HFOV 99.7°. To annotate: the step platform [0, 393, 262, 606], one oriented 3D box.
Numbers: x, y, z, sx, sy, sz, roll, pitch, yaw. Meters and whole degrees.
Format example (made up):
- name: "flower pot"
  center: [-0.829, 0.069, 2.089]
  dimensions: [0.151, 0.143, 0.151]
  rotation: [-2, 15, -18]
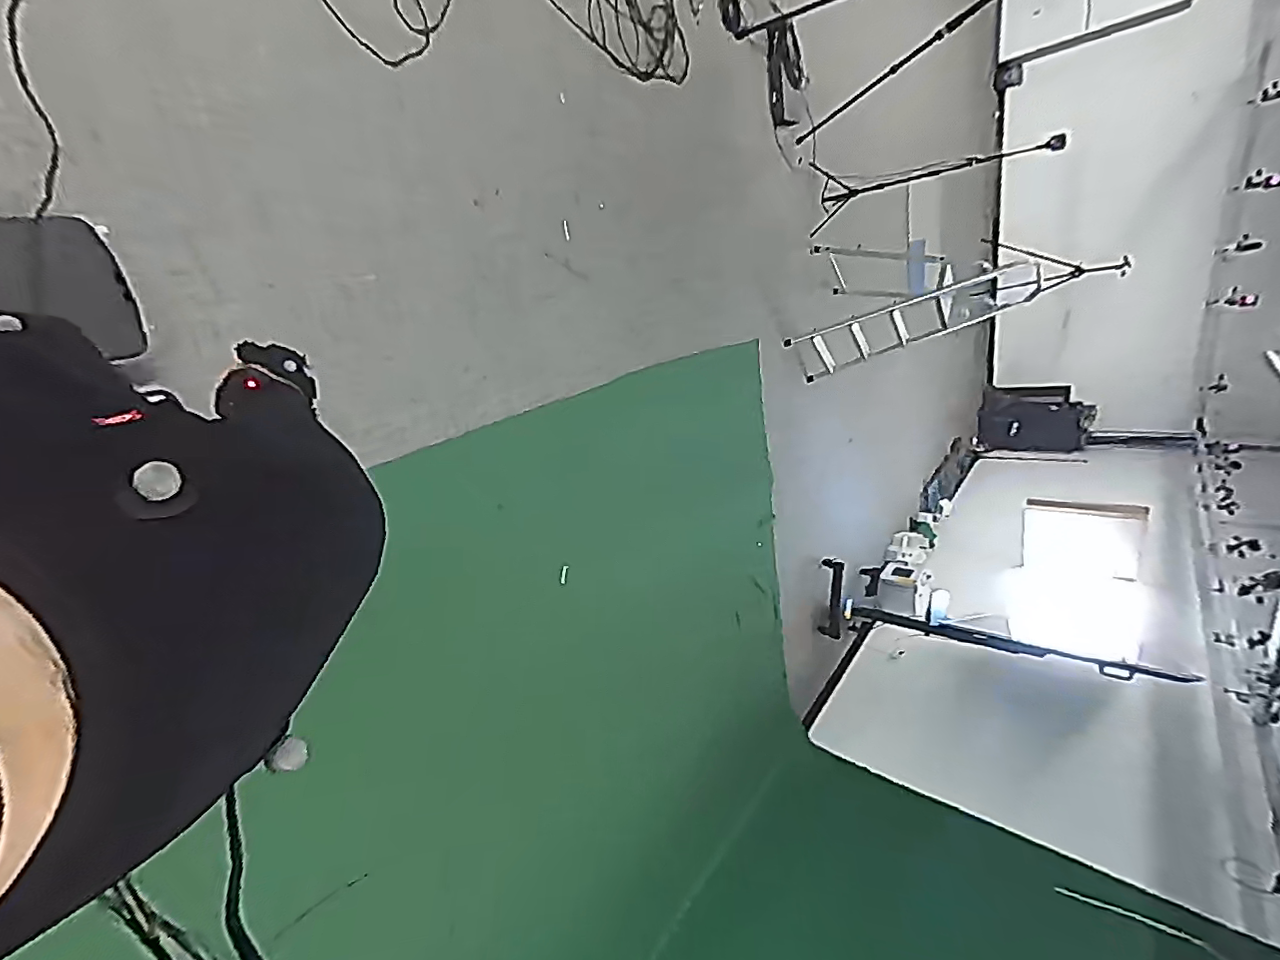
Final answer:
- name: "step platform"
  center: [-1.042, 0.074, 0.867]
  dimensions: [0.684, 0.204, 0.286]
  rotation: [-30, 117, -44]
